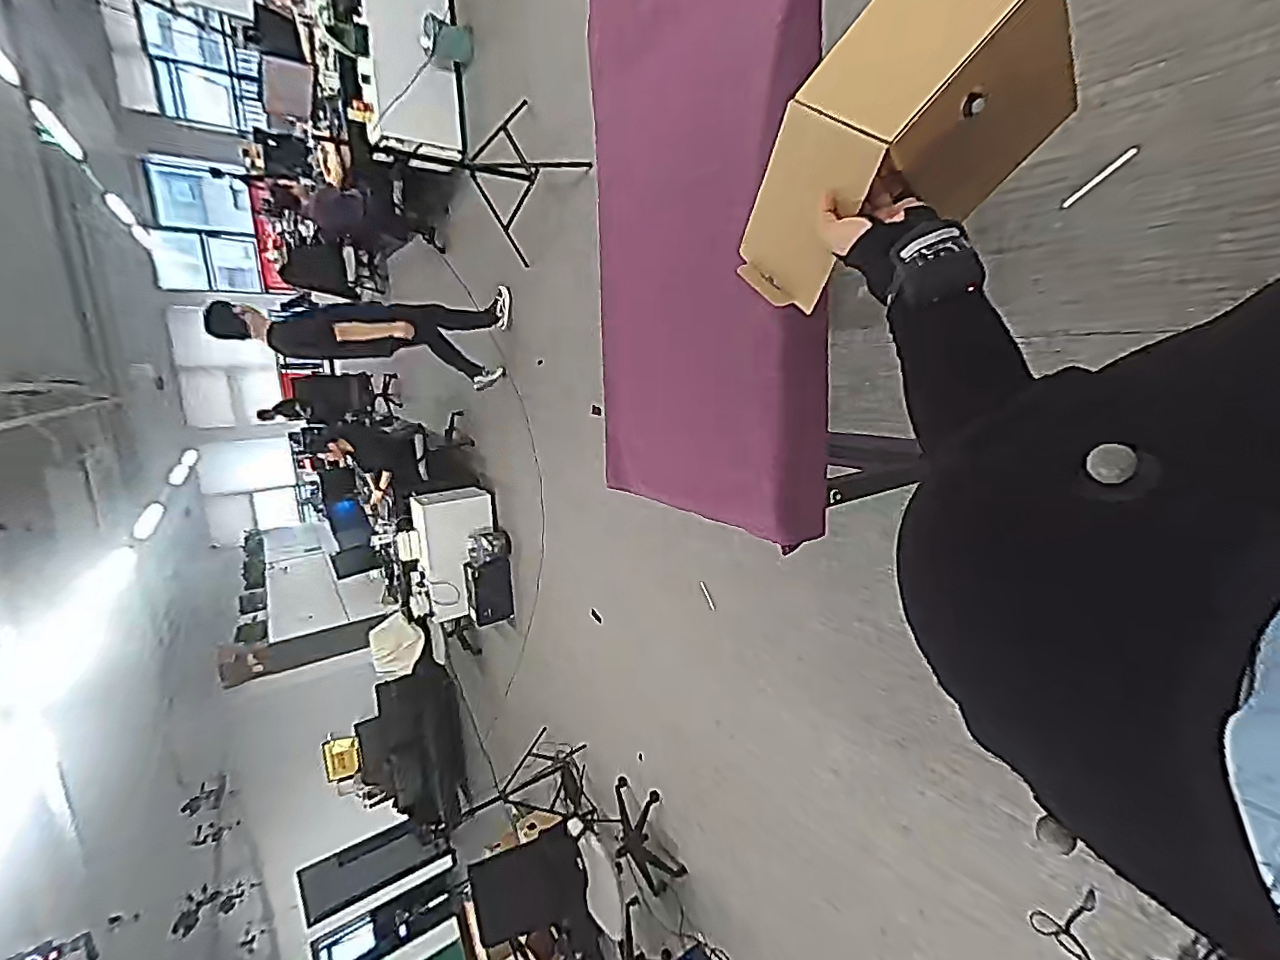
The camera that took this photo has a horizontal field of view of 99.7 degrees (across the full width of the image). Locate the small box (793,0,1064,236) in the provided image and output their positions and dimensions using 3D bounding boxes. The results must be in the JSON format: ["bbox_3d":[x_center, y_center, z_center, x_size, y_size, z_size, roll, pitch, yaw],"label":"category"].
[{"bbox_3d":[0.307,-0.402,0.579,0.179,0.176,0.168,-46,49,21],"label":"small box"}]
